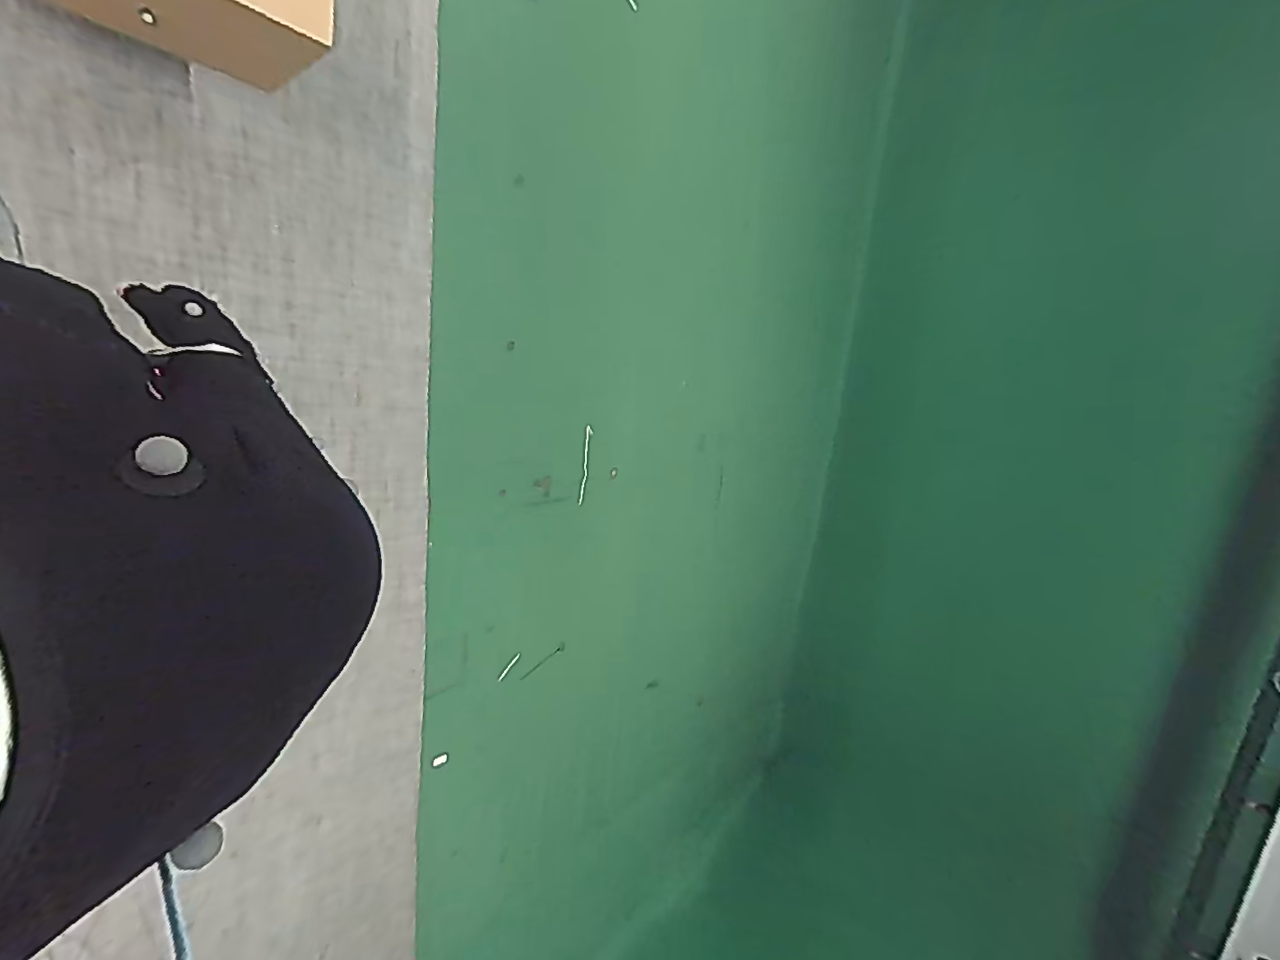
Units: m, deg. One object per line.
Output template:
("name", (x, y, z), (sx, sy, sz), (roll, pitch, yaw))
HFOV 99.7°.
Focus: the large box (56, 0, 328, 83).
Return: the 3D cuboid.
("large box", (-0.722, -0.864, 0.784), (0.408, 0.320, 0.320), (-5, 106, -49))
